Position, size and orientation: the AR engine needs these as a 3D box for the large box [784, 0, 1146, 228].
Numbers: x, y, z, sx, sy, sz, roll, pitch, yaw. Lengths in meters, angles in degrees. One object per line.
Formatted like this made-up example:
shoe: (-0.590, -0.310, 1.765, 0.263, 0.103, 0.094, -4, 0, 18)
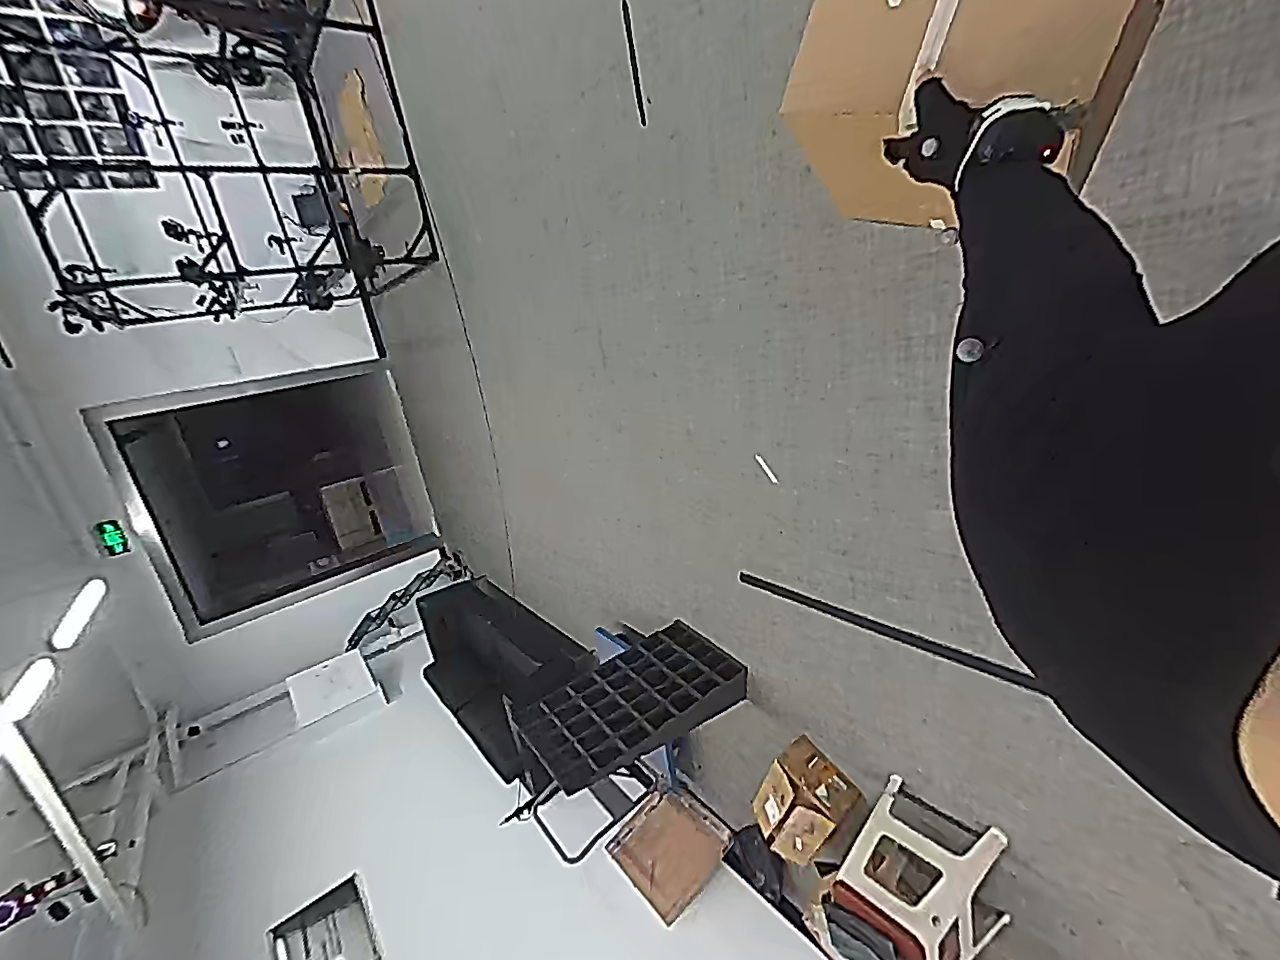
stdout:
large box: (0.430, -0.585, 0.672, 0.320, 0.320, 0.408, 24, 105, 33)
